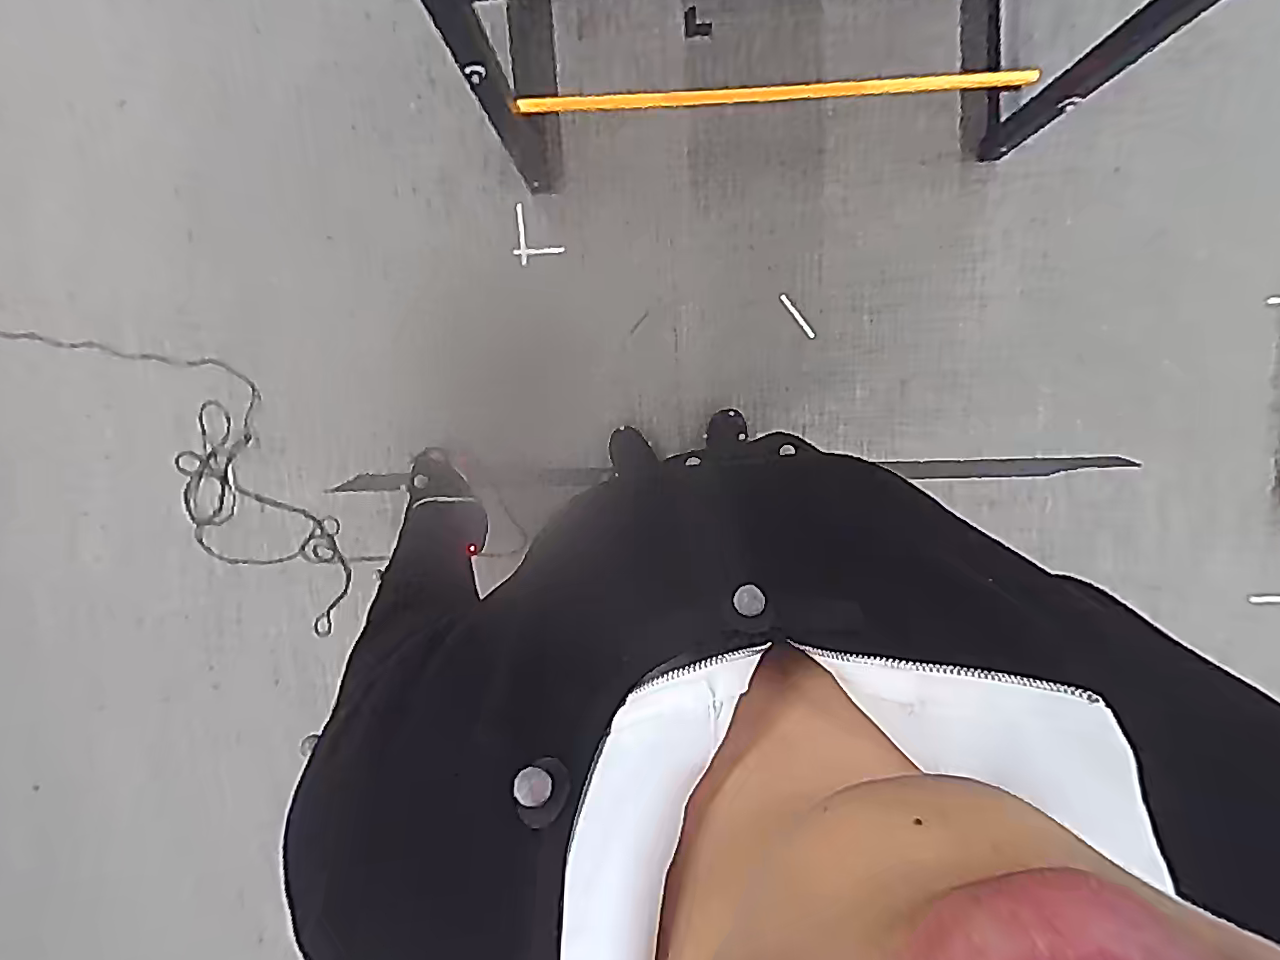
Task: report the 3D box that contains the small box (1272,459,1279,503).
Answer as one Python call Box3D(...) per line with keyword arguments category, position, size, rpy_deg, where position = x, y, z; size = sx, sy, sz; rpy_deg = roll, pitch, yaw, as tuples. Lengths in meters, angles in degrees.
Box3D(category="small box", position=(1.797, -0.009, 1.379), size=(0.179, 0.176, 0.168), rpy_deg=(-1, 99, 2))
